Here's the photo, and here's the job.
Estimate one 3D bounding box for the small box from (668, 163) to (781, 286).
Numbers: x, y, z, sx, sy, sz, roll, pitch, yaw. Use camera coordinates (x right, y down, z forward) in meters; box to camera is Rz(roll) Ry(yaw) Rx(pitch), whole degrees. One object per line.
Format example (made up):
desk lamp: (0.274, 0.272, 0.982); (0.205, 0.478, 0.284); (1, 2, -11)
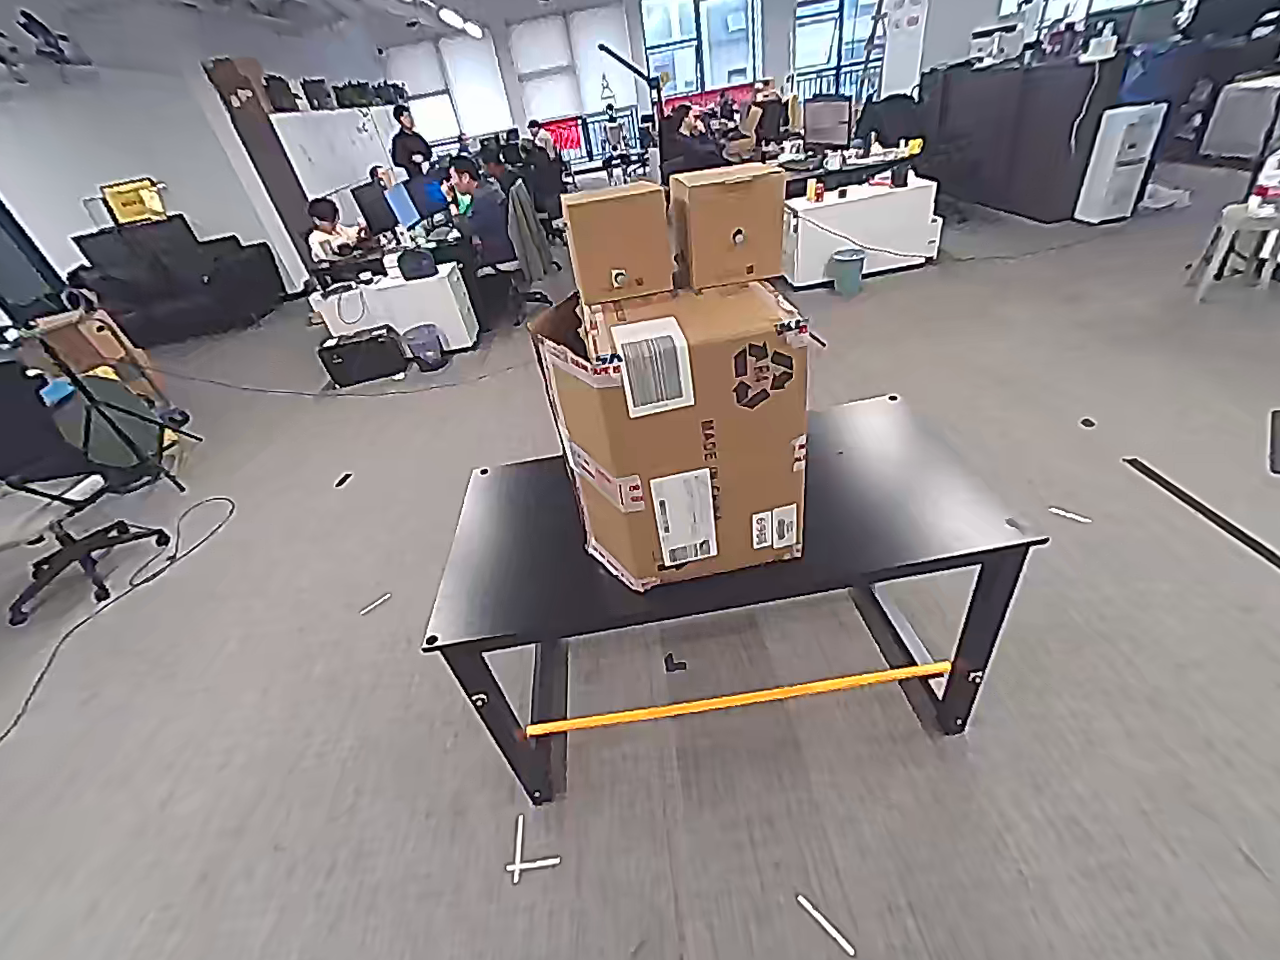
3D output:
small box: (0.152, -0.465, 0.992); (0.168, 0.176, 0.179); (-9, 36, -3)

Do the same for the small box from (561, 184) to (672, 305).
small box: (-0.045, -0.436, 0.999); (0.168, 0.176, 0.179); (-13, 34, -5)
